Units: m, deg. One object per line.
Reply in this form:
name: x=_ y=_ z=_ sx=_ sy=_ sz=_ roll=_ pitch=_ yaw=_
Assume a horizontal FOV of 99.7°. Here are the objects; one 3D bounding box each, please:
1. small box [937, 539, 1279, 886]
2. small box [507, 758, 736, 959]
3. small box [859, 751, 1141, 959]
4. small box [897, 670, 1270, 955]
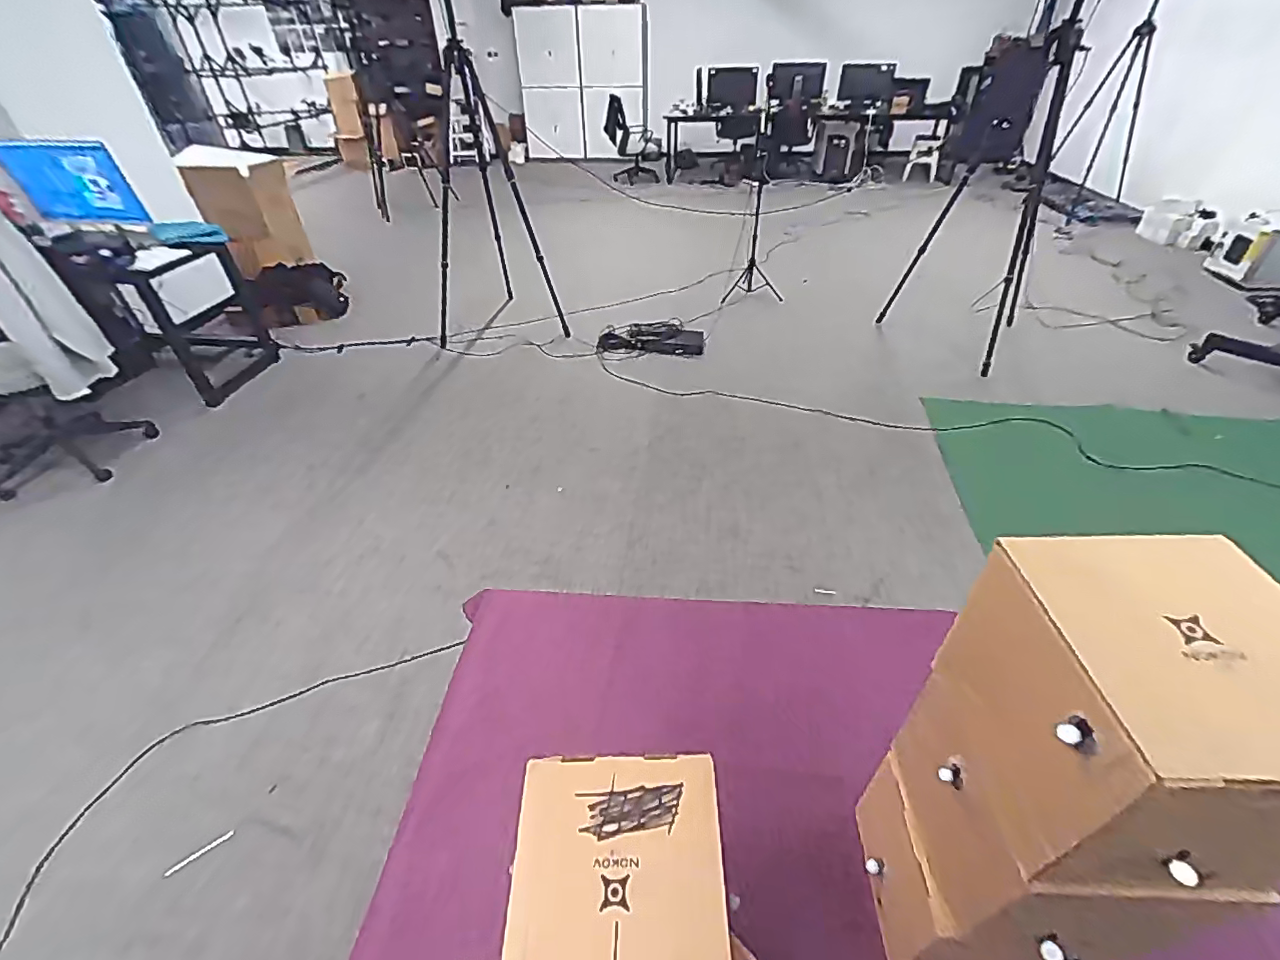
small box: x=0.348 y=0.161 z=0.390 sx=0.168 sy=0.176 sz=0.179 roll=-1 pitch=40 yaw=2
small box: x=-0.008 y=0.362 z=0.471 sx=0.168 sy=0.176 sz=0.179 roll=-4 pitch=47 yaw=3
small box: x=0.361 y=0.419 z=0.588 sx=0.179 sy=0.176 sz=0.168 roll=1 pitch=39 yaw=4
small box: x=0.356 y=0.291 z=0.488 sx=0.168 sy=0.176 sz=0.179 roll=0 pitch=40 yaw=4
